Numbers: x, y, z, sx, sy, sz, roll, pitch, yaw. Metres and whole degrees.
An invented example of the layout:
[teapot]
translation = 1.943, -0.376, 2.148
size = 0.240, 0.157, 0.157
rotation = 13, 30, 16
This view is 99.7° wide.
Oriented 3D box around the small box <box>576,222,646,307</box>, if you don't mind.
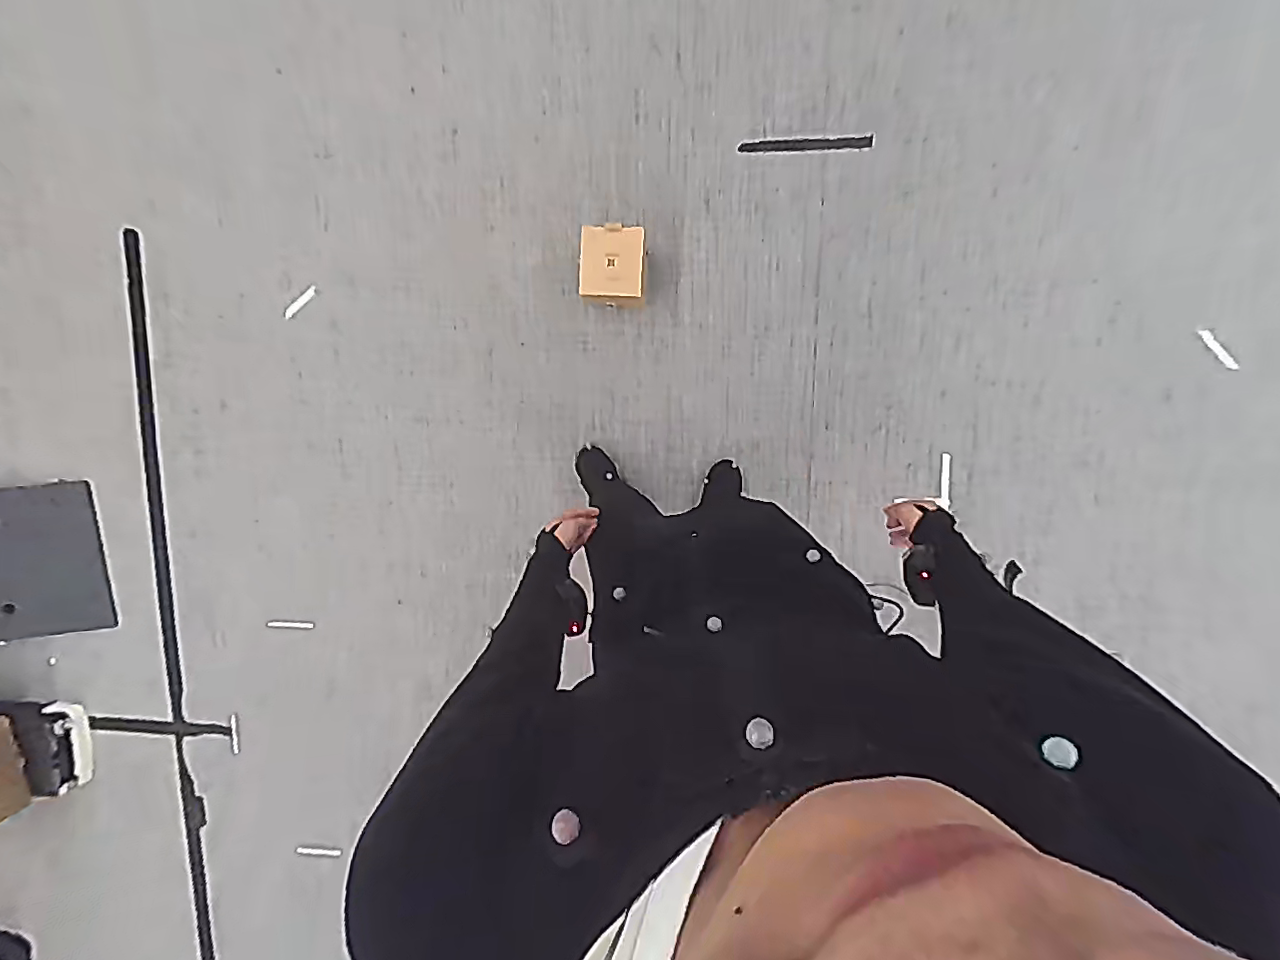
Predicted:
[small box]
translation = -0.074, -0.579, 1.468
size = 0.168, 0.176, 0.179
rotation = 4, 97, 5
